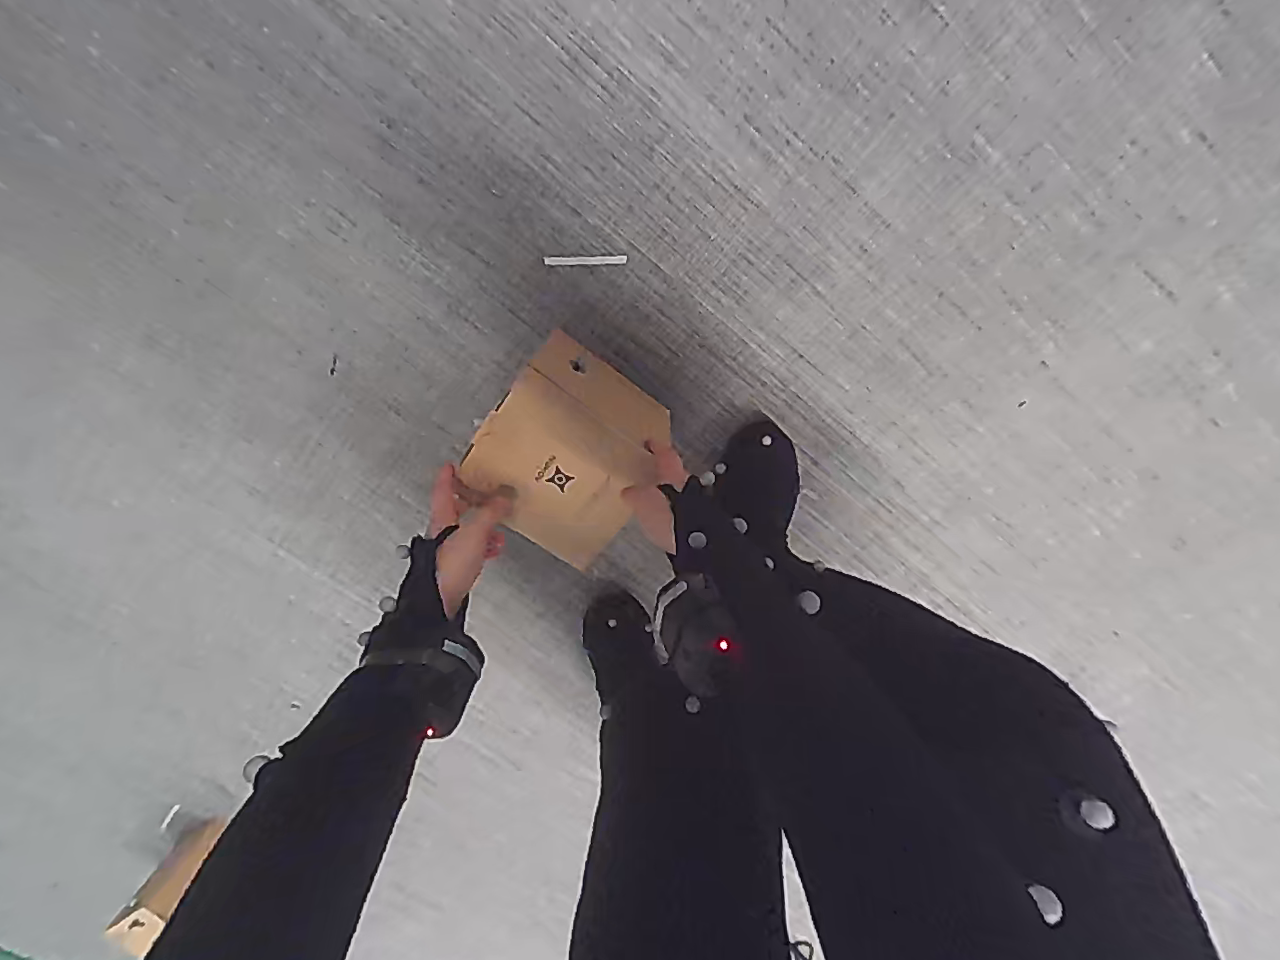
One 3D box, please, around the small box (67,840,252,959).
[{"bbox_3d":[-0.917,0.850,1.051,0.168,0.176,0.179,-35,106,16],"label":"small box"}]
